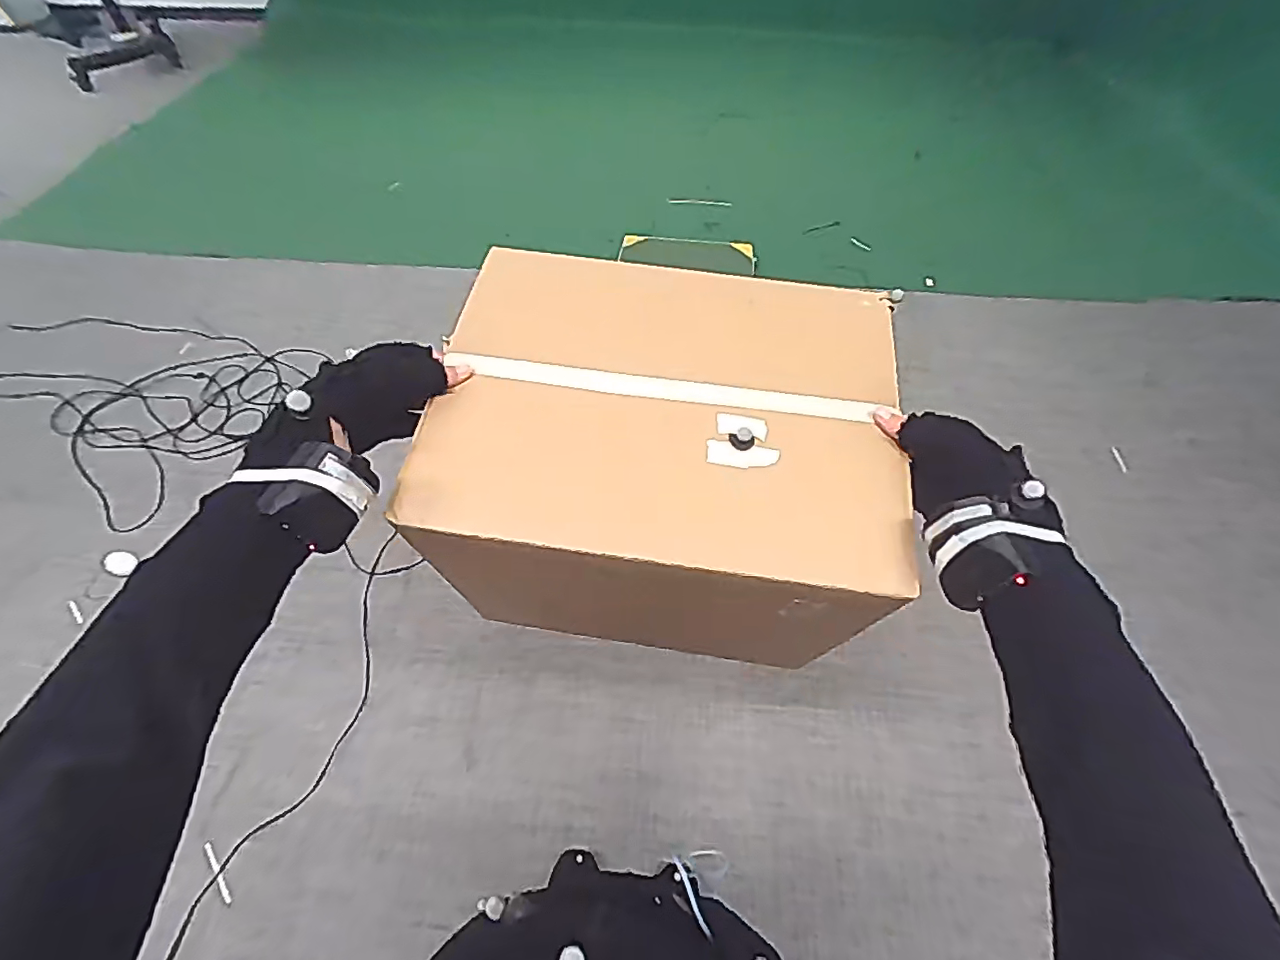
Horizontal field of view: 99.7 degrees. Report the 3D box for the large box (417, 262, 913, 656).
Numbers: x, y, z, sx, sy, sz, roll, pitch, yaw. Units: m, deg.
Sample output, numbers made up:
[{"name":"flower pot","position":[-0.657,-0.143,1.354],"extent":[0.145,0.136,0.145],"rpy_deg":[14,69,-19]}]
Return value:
[{"name":"large box","position":[0.028,-0.004,0.623],"extent":[0.408,0.320,0.320],"rpy_deg":[8,63,2]}]
